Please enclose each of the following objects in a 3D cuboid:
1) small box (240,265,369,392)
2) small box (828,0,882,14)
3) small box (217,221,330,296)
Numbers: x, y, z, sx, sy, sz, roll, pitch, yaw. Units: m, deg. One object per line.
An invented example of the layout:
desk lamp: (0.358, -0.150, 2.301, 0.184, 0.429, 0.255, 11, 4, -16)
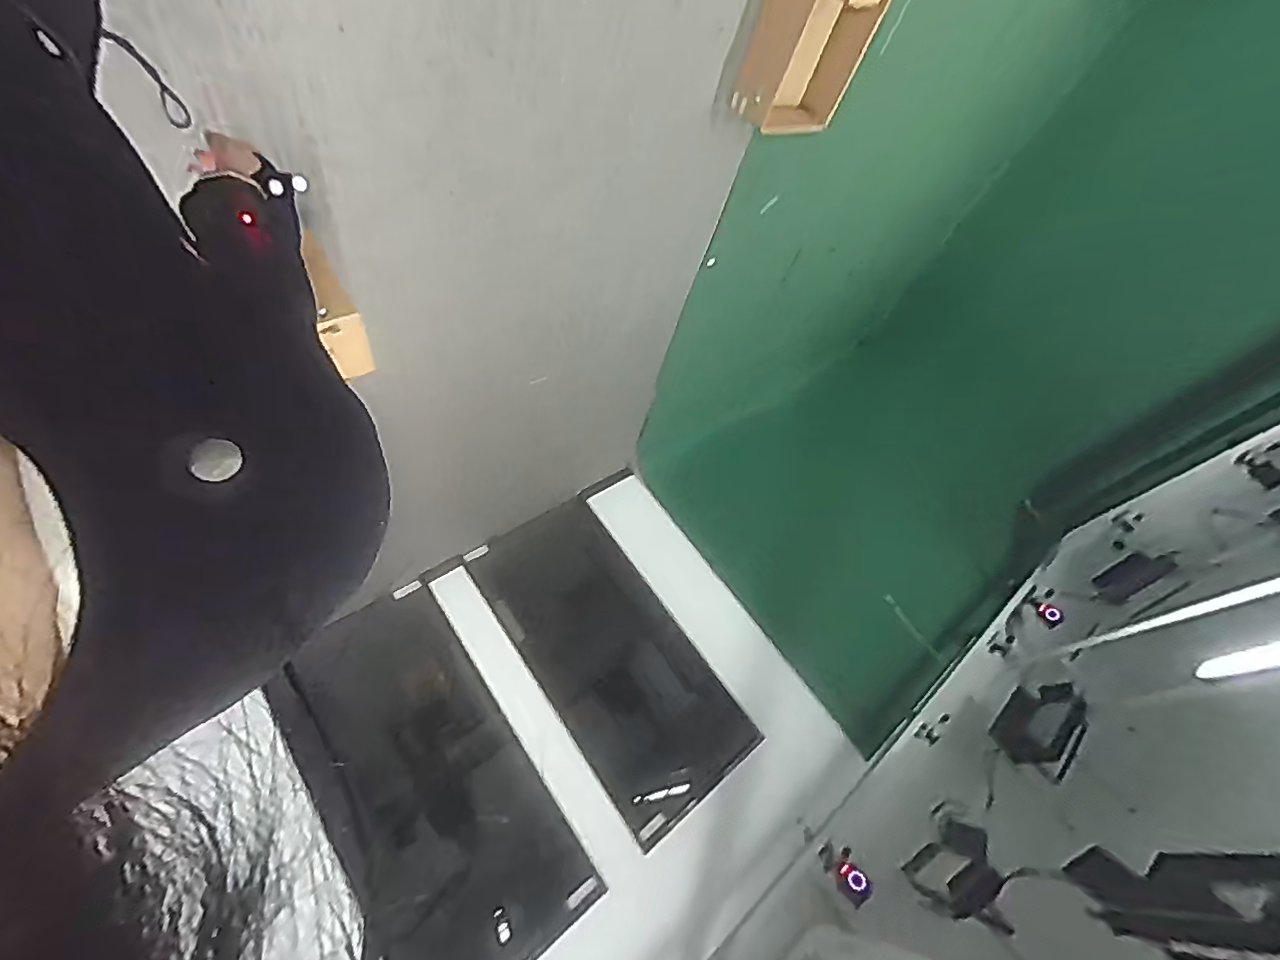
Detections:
small box: (-0.715, -0.327, 1.164, 0.168, 0.176, 0.179, -29, 160, -28)
small box: (0.664, -1.569, 1.653, 0.179, 0.176, 0.168, -27, 159, -29)
small box: (-0.808, -0.449, 1.223, 0.168, 0.176, 0.179, -29, 159, -28)
